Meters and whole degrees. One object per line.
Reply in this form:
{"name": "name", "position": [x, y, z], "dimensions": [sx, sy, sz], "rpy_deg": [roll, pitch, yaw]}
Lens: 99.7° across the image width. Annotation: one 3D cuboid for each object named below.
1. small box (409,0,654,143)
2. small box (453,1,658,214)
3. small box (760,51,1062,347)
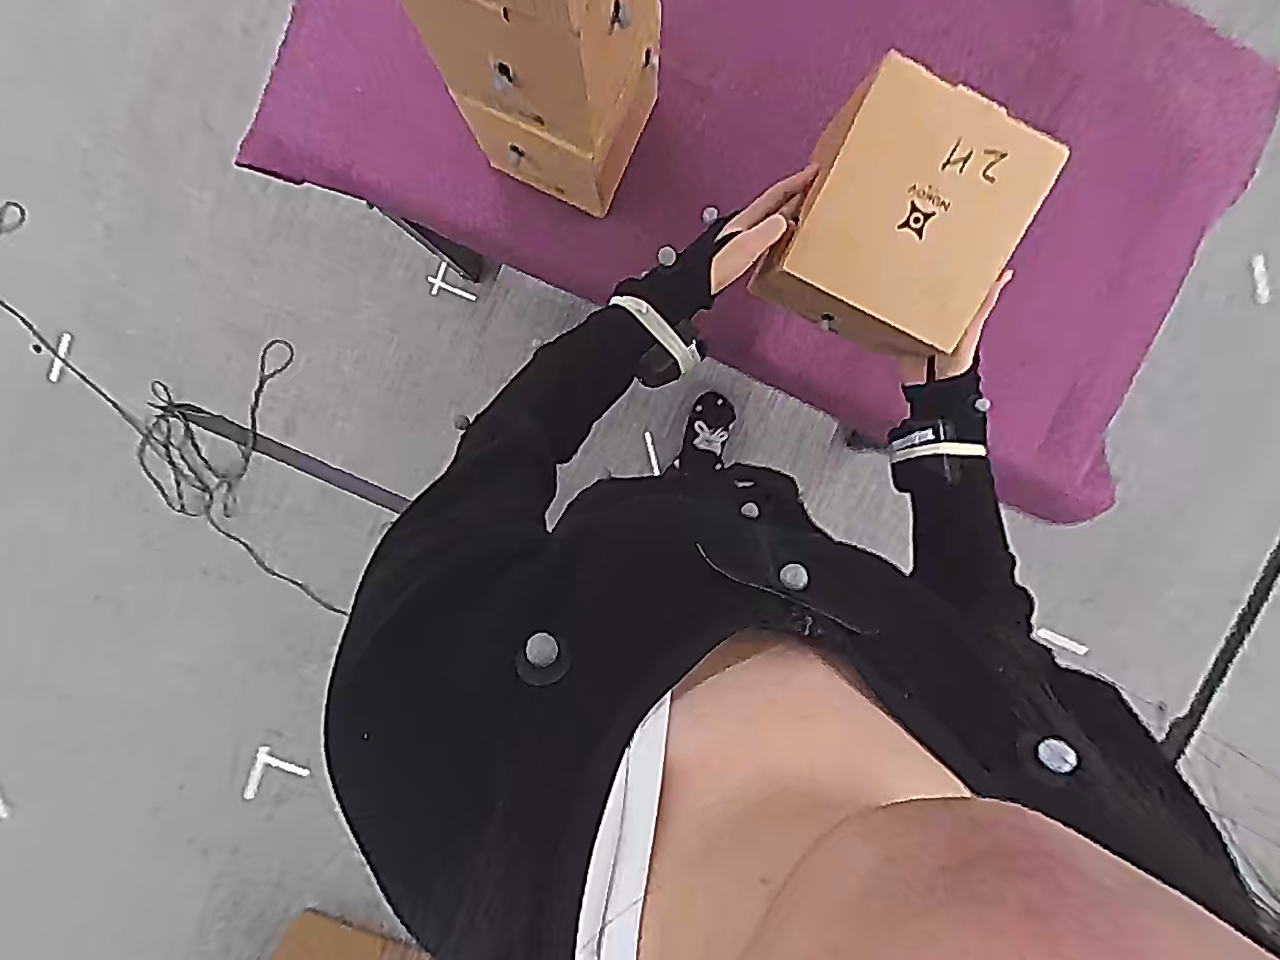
{"name": "small box", "position": [-0.087, -0.445, 0.477], "dimensions": [0.168, 0.176, 0.179], "rpy_deg": [23, 95, -3]}
{"name": "small box", "position": [-0.088, -0.454, 0.641], "dimensions": [0.168, 0.176, 0.179], "rpy_deg": [25, 94, -3]}
{"name": "small box", "position": [0.231, -0.242, 0.522], "dimensions": [0.168, 0.176, 0.179], "rpy_deg": [25, 102, -5]}
